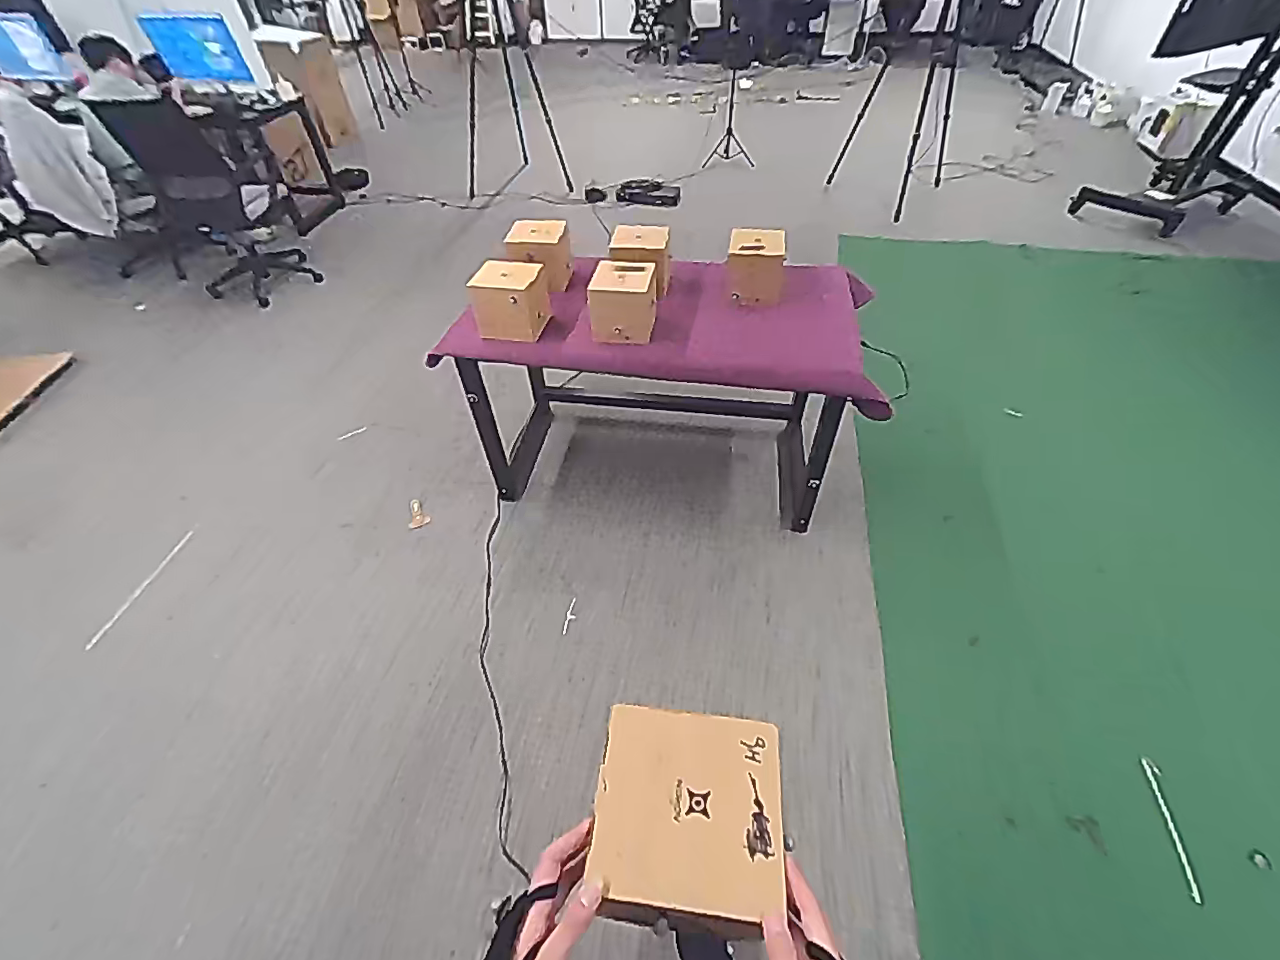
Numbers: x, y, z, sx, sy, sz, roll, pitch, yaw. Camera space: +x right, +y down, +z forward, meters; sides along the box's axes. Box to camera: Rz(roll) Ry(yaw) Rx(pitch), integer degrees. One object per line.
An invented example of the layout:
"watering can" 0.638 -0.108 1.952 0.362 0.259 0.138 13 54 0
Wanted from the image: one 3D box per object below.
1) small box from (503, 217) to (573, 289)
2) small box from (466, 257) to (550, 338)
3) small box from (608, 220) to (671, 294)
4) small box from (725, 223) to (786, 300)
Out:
"small box" -0.329 -0.745 1.776 0.179 0.176 0.168 4 49 6
"small box" -0.379 -0.533 1.585 0.179 0.176 0.168 7 47 8
"small box" 0.004 -0.712 1.732 0.179 0.176 0.168 4 48 8
"small box" 0.358 -0.676 1.680 0.168 0.176 0.179 6 48 9
